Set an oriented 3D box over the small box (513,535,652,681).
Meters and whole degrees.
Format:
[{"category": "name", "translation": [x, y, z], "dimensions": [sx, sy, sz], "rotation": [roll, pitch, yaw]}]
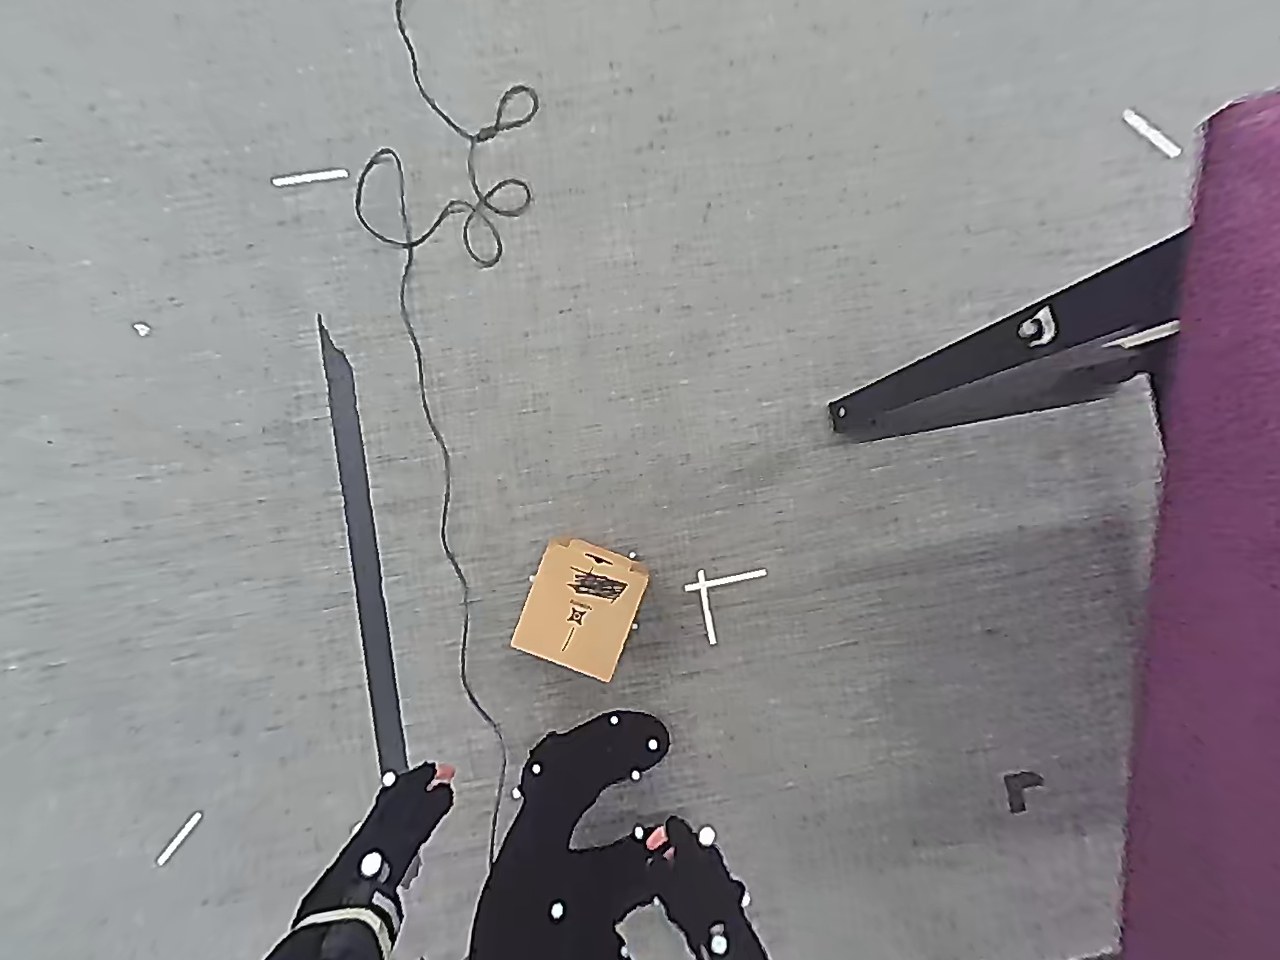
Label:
[{"category": "small box", "translation": [-0.090, 0.199, 0.900], "dimensions": [0.168, 0.176, 0.179], "rotation": [21, 88, 0]}]
